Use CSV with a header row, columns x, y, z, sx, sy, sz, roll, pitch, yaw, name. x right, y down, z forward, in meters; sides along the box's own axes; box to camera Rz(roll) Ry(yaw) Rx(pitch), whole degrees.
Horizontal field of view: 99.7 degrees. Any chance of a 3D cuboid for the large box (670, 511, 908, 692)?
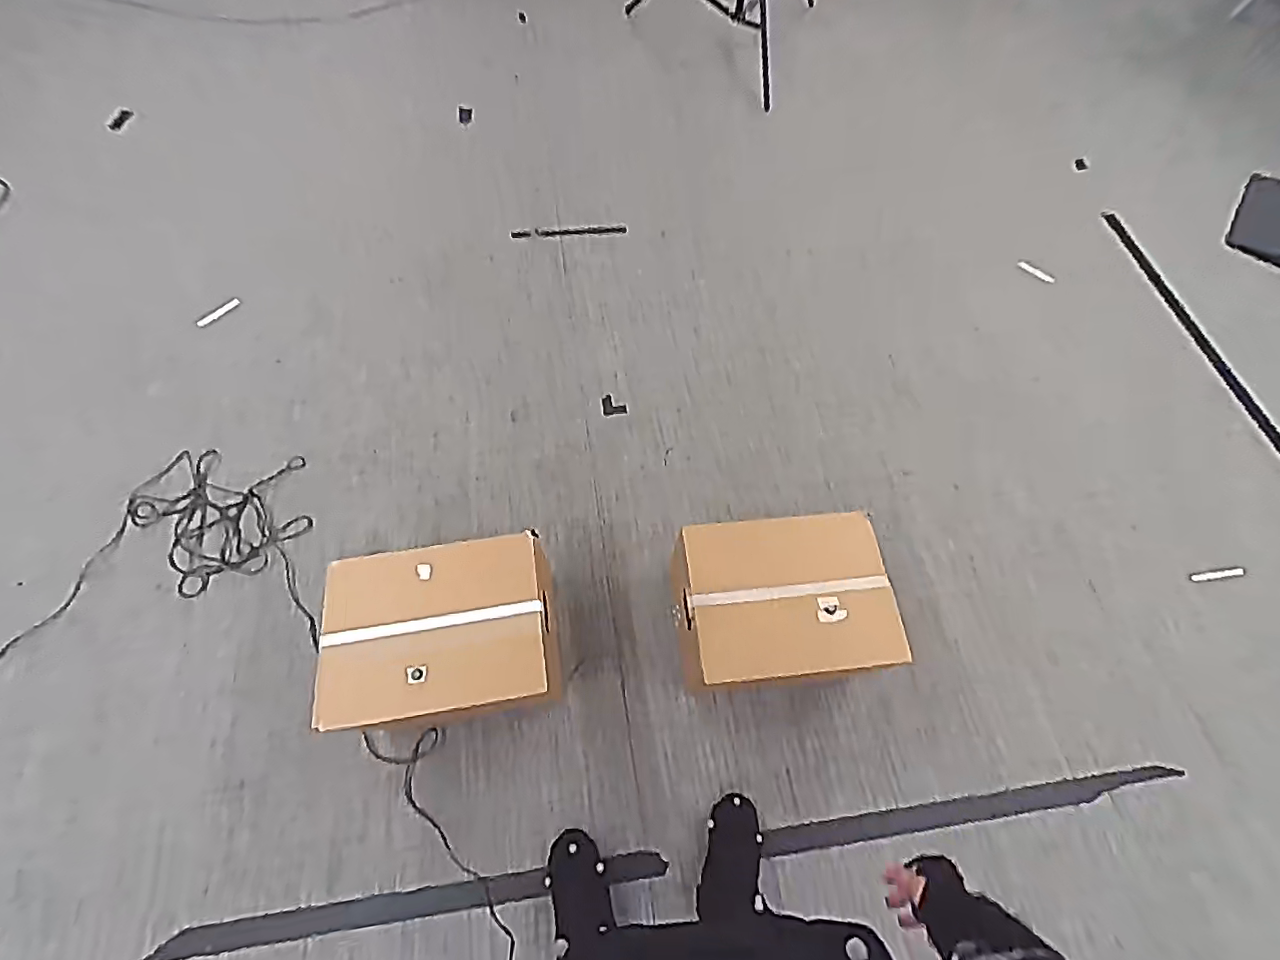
x,y,z,sx,sy,sz,roll,pitch,yaw,name
0.297,0.283,1.219,0.408,0.320,0.320,-4,66,-5,large box
